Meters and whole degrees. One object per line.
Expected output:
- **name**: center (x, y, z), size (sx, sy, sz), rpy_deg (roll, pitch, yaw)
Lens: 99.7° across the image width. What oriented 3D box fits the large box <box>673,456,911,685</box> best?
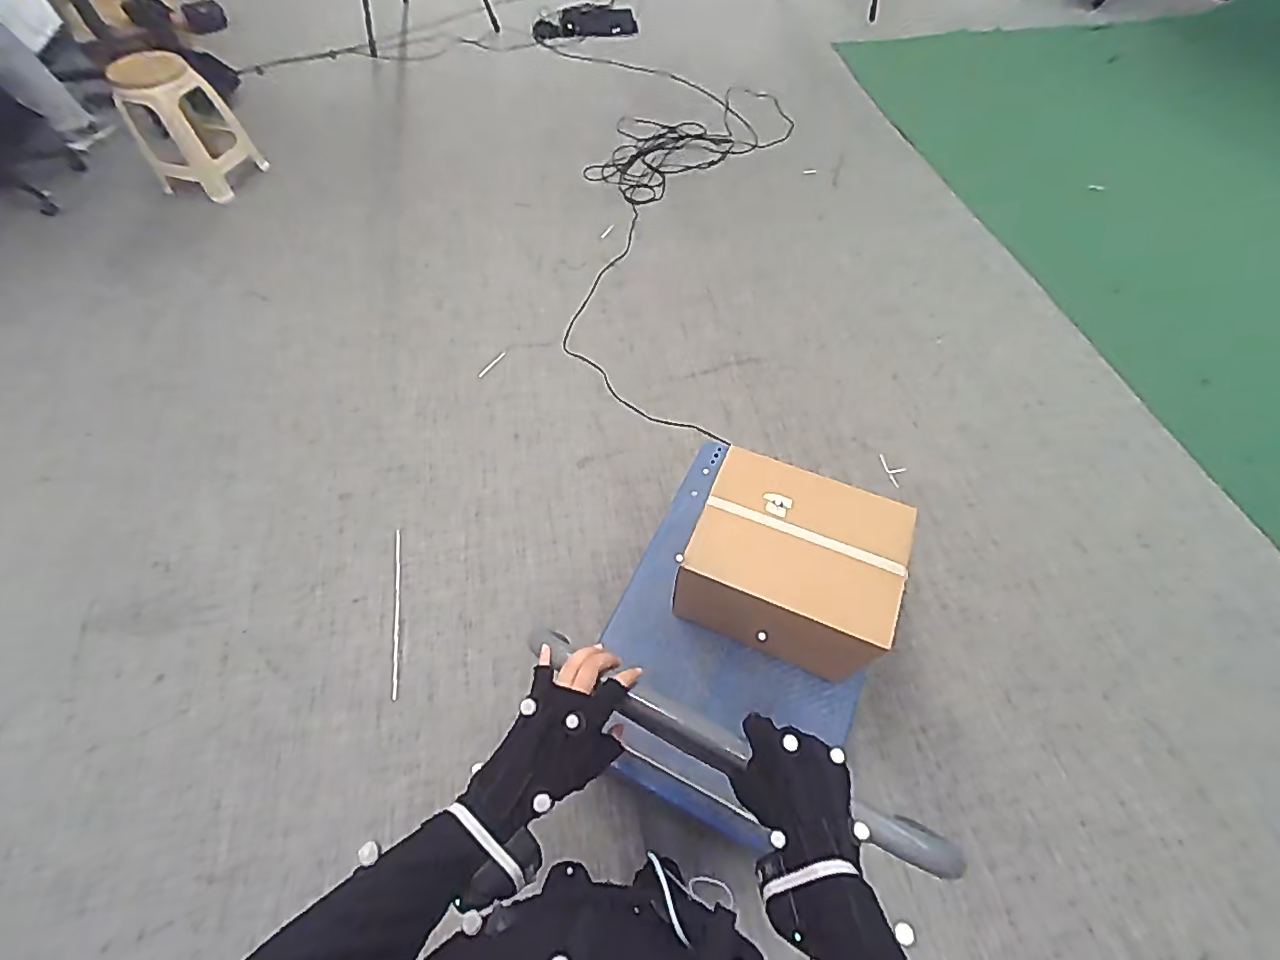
- **large box**: center (0.314, 0.206, 1.190), size (0.408, 0.320, 0.320), rpy_deg (20, 60, 12)
